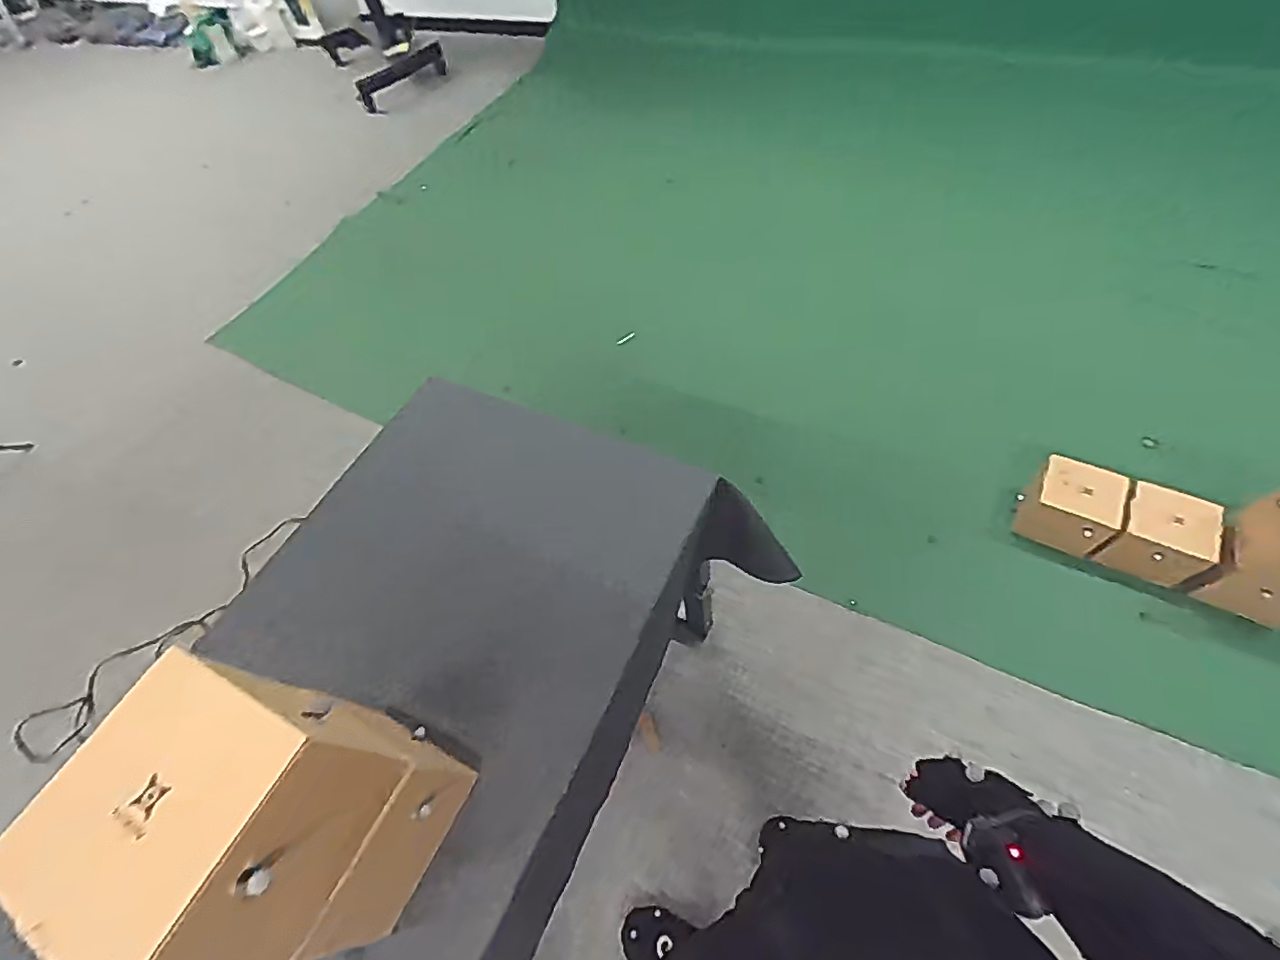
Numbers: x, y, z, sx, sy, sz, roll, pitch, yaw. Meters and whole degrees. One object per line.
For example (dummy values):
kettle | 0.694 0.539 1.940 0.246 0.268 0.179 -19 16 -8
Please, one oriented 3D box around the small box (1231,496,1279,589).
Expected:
small box | 1.427 0.137 1.143 0.179 0.176 0.168 21 63 19

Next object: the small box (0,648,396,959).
small box | -0.341 0.275 0.456 0.168 0.176 0.179 19 62 19
